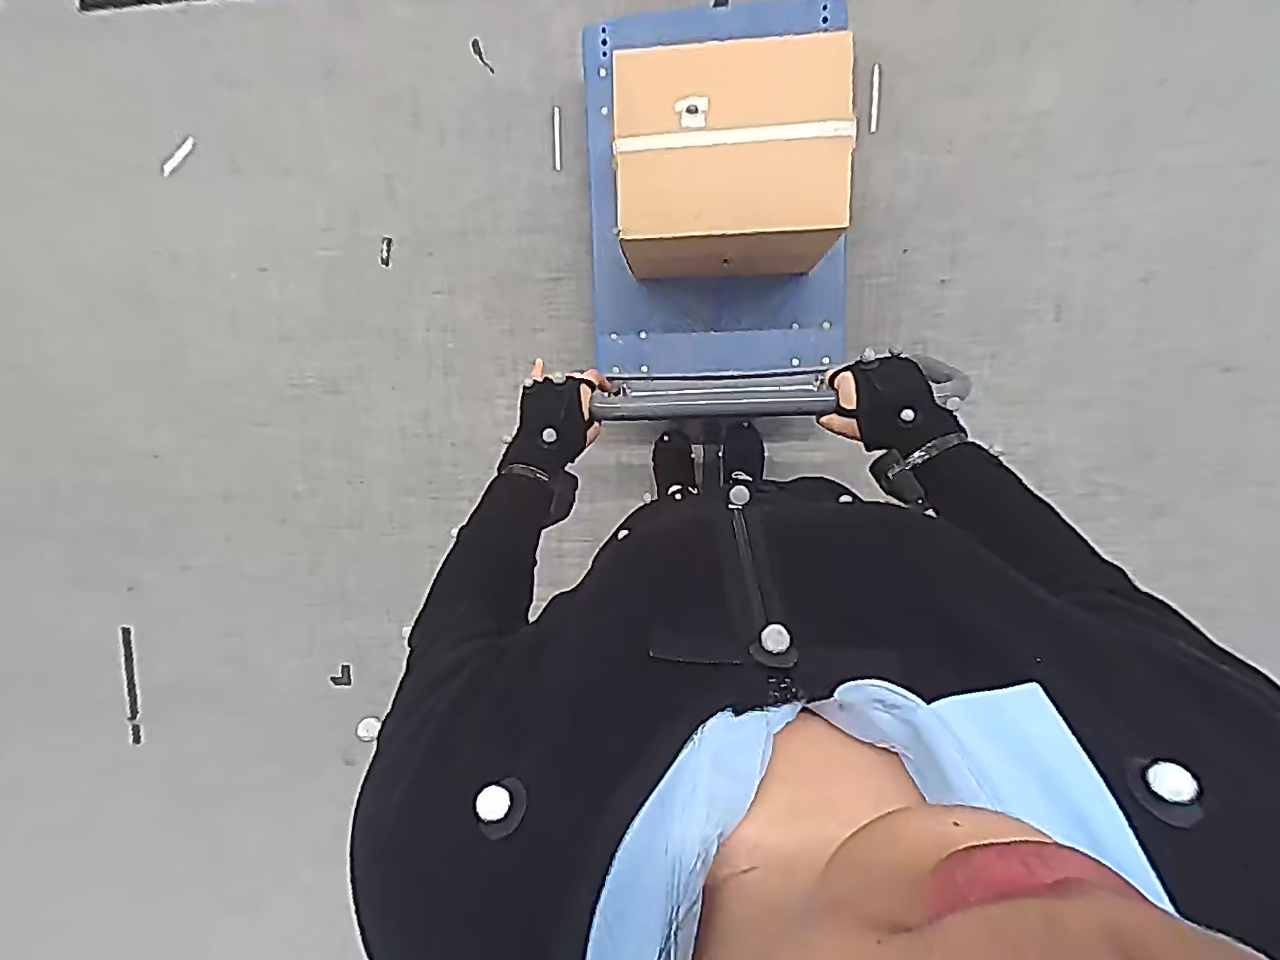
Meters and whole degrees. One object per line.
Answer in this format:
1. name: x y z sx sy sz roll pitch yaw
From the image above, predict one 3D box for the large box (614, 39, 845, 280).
1. large box: 0.174 -0.610 1.101 0.408 0.320 0.320 -1 96 6
